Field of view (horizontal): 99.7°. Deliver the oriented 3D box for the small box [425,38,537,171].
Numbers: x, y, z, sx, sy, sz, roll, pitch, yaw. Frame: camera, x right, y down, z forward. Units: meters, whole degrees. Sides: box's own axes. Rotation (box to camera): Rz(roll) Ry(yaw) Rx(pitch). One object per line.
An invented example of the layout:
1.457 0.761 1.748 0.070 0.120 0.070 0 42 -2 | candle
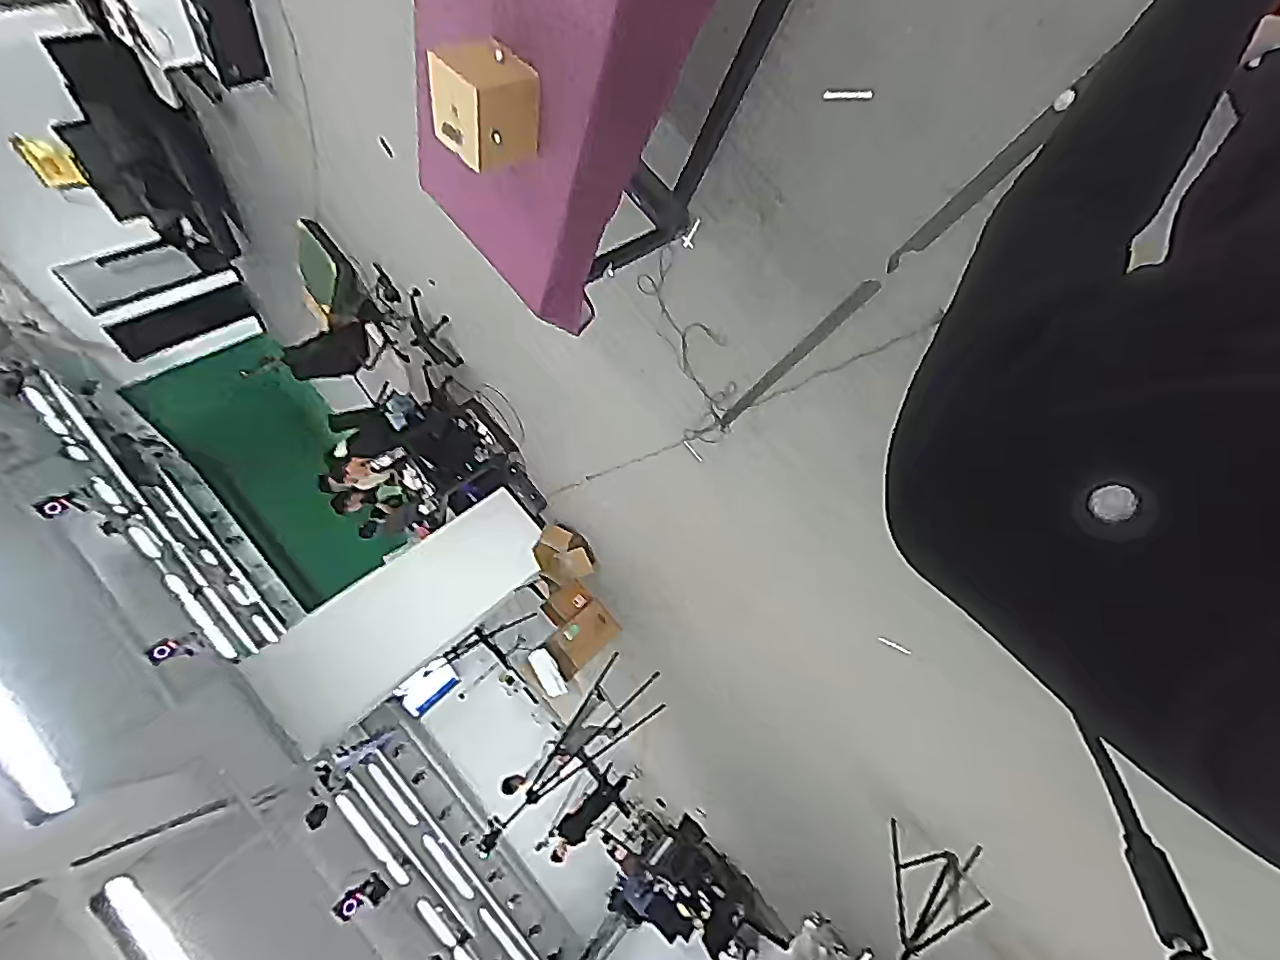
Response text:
-0.344 -0.831 1.195 0.168 0.176 0.179 44 150 13 | small box
